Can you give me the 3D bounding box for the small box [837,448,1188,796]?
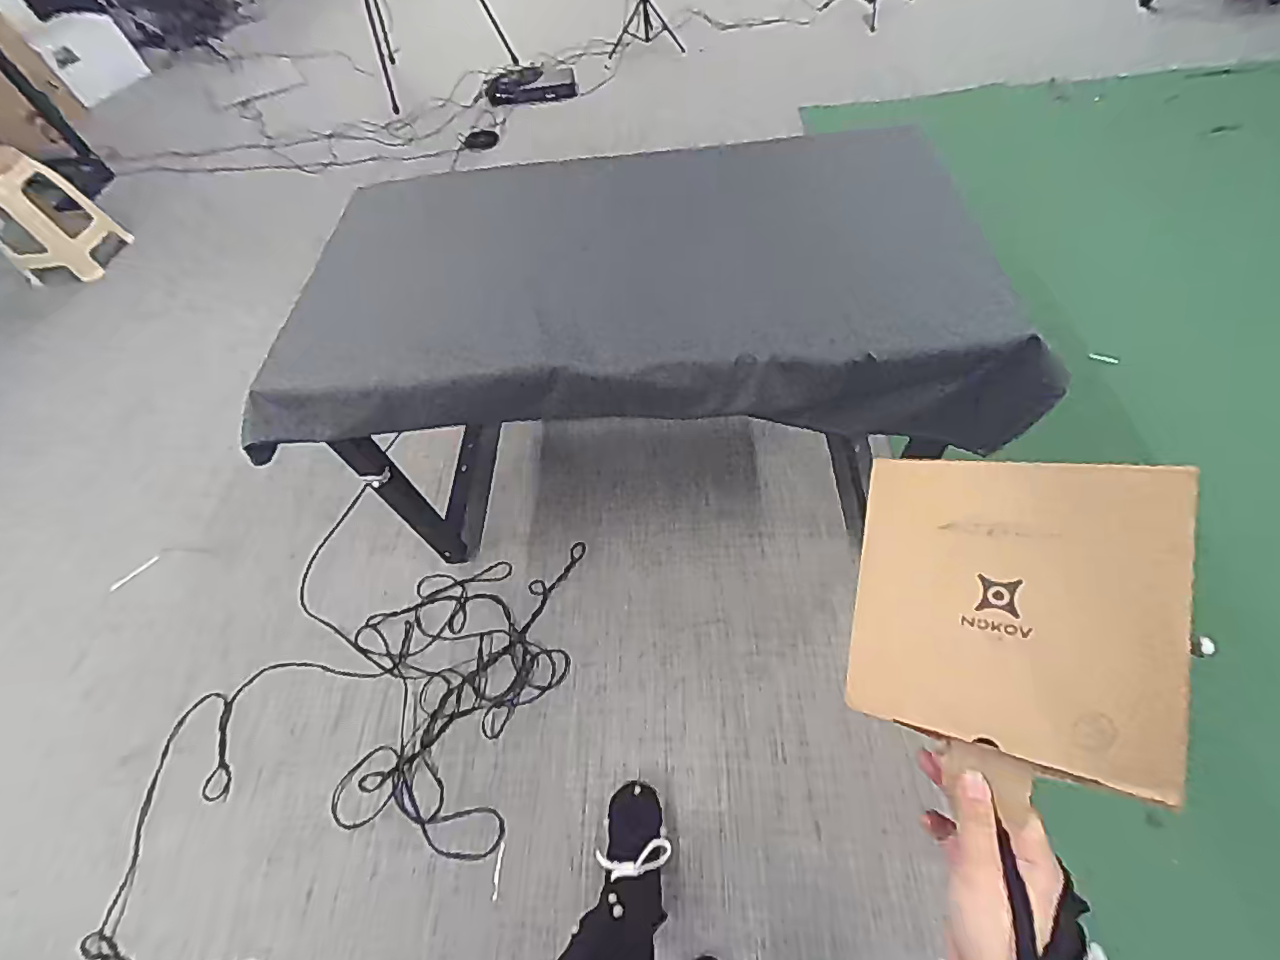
[{"bbox_3d":[0.258,0.083,0.386,0.168,0.176,0.179,4,80,38],"label":"small box"}]
